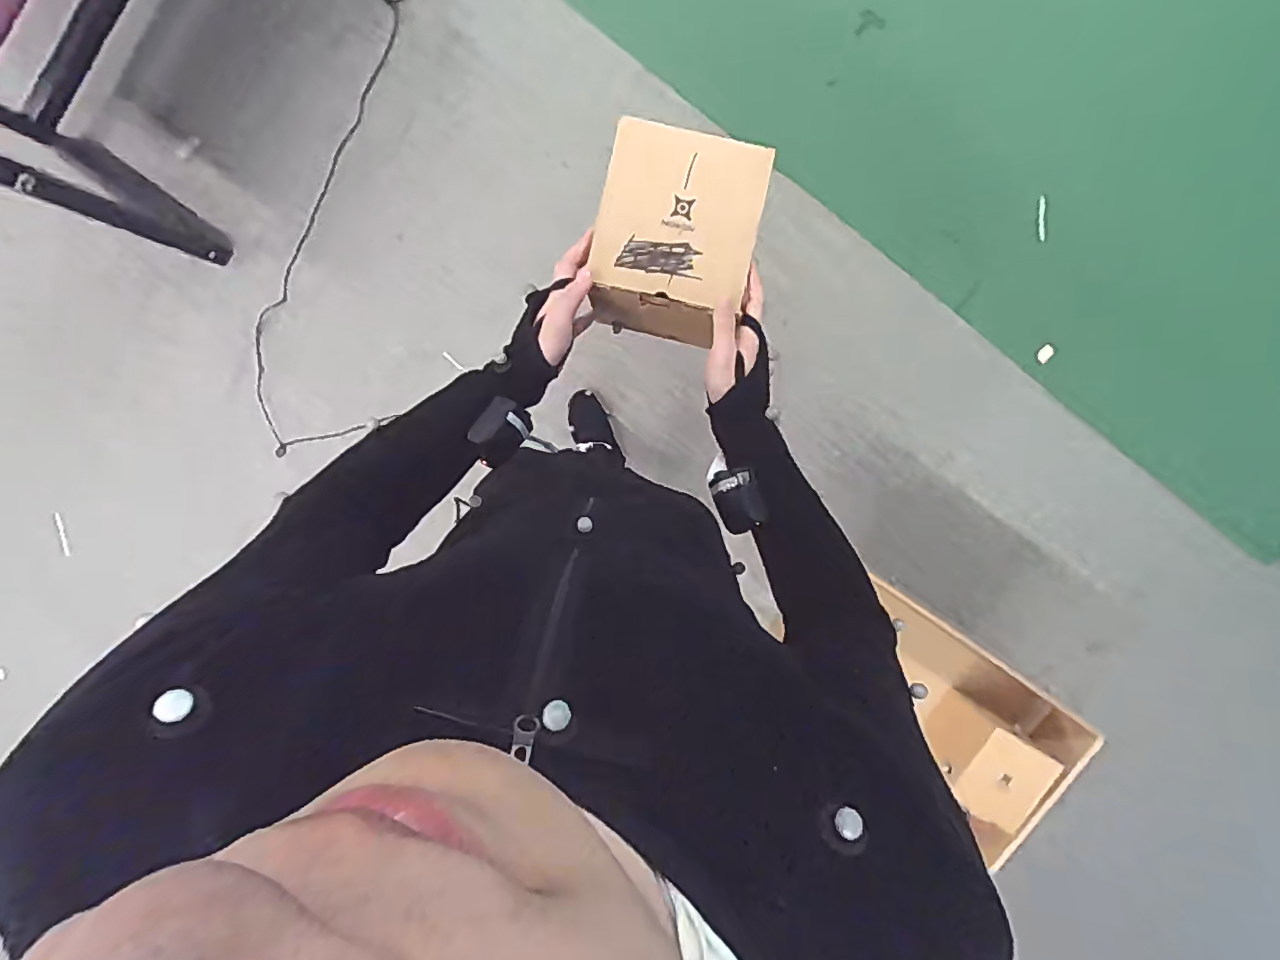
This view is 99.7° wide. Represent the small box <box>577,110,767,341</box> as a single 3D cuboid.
[{"bbox_3d":[0.033,-0.276,0.629,0.168,0.176,0.179,12,91,0],"label":"small box"}]

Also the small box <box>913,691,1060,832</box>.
[{"bbox_3d":[0.728,0.591,1.160,0.168,0.176,0.179,31,96,-2],"label":"small box"}]
